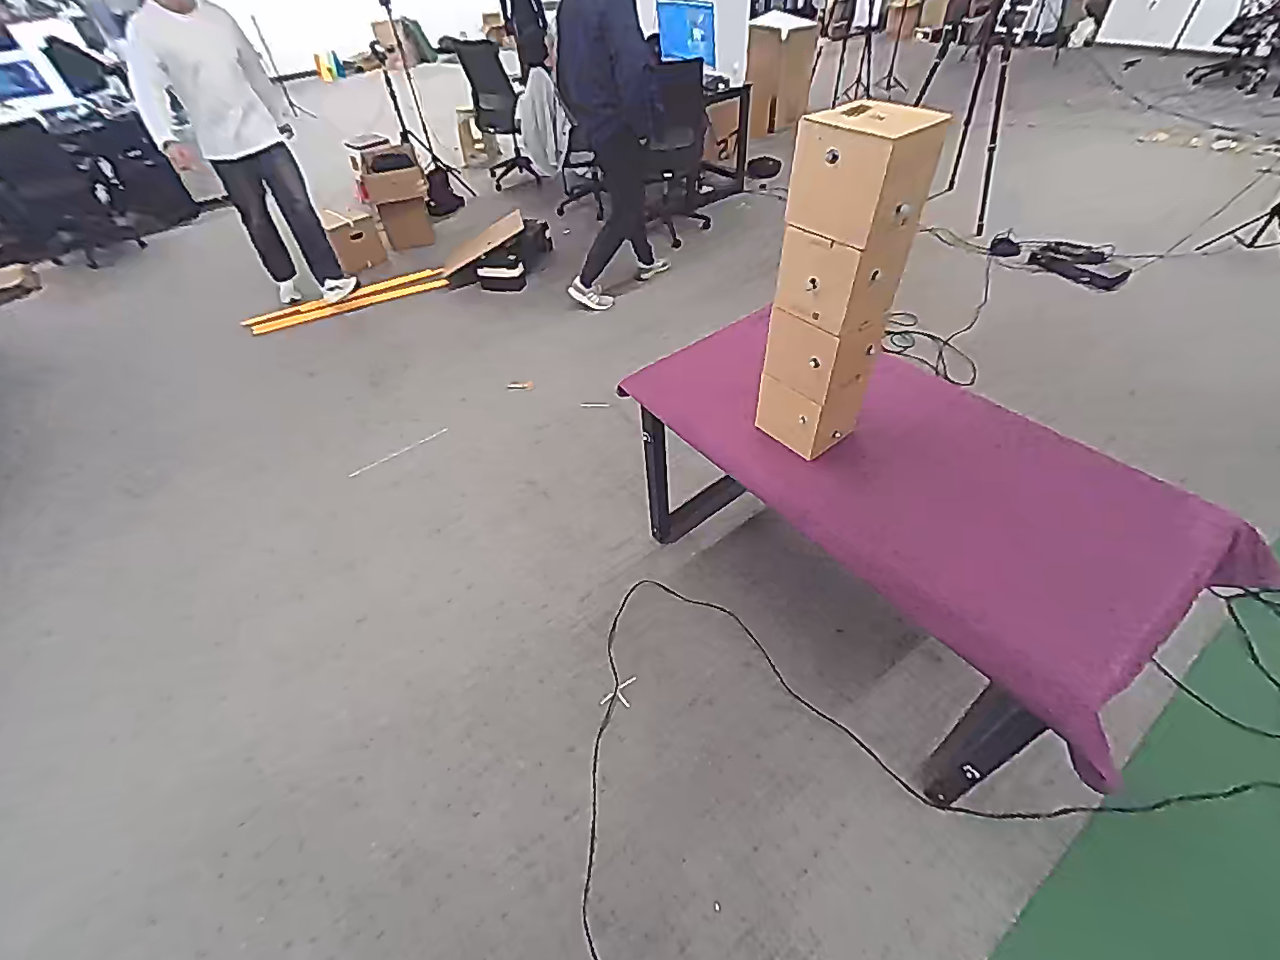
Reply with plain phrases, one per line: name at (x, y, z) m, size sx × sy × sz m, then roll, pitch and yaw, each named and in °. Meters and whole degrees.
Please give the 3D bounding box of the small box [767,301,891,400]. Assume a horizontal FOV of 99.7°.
small box at (0.395, -0.294, 1.159) m, size 0.168 × 0.176 × 0.179 m, roll -31°, pitch 51°, yaw -23°

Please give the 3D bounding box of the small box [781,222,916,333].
small box at (0.391, -0.410, 1.044) m, size 0.179 × 0.176 × 0.168 m, roll -32°, pitch 53°, yaw -23°

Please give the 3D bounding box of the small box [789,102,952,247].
small box at (0.379, -0.521, 0.923) m, size 0.168 × 0.176 × 0.179 m, roll -32°, pitch 53°, yaw -24°
